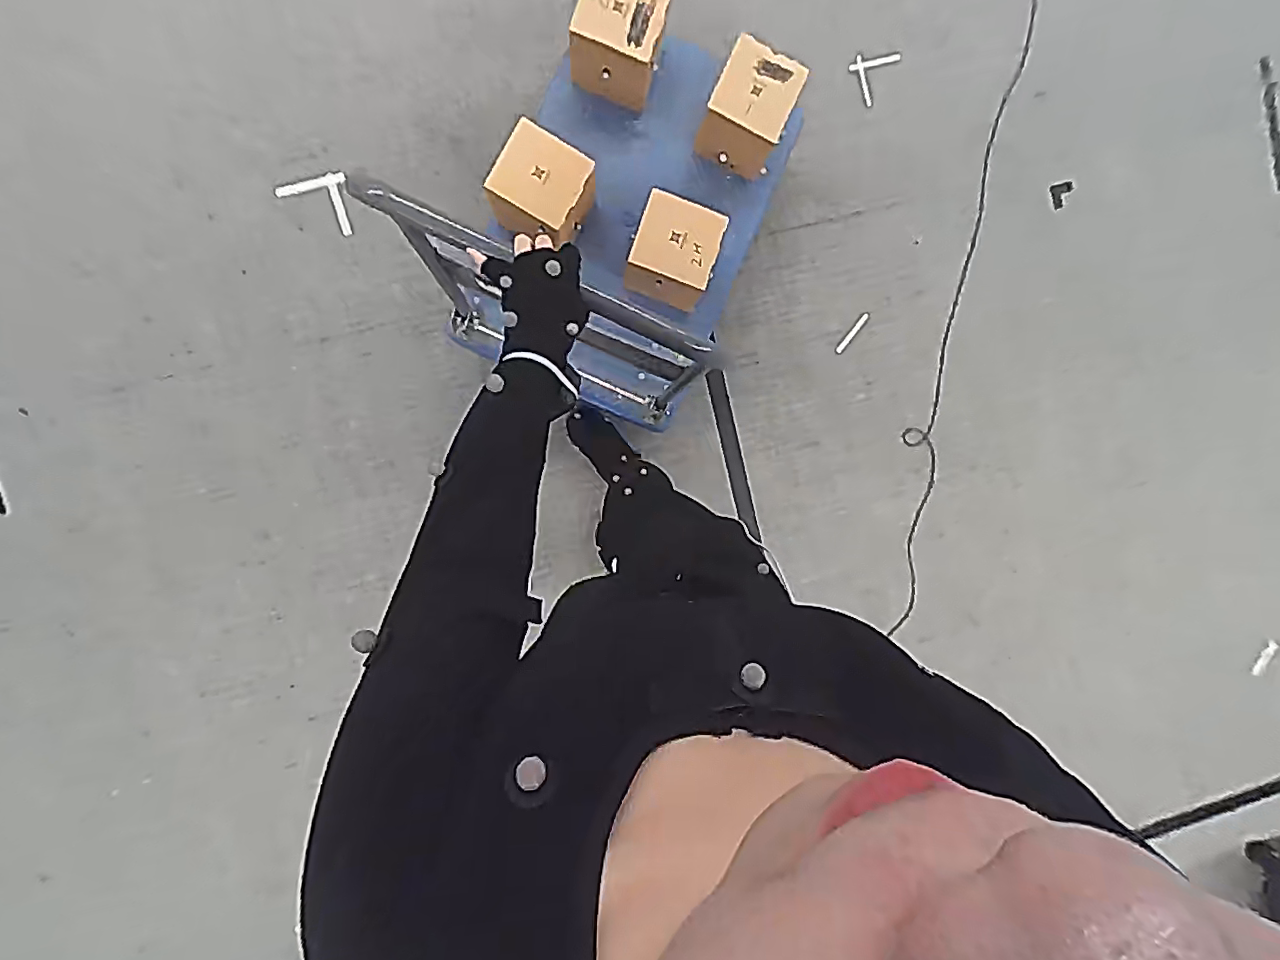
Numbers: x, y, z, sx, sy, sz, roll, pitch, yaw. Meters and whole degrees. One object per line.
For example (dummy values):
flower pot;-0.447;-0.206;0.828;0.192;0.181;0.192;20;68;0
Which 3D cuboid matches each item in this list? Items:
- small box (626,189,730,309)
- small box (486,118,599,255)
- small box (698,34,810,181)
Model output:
small box;0.075;-0.503;1.208;0.179;0.176;0.168;20;90;-6
small box;-0.207;-0.624;1.178;0.179;0.176;0.168;29;89;-7
small box;0.245;-0.823;1.214;0.168;0.176;0.179;25;91;-6
